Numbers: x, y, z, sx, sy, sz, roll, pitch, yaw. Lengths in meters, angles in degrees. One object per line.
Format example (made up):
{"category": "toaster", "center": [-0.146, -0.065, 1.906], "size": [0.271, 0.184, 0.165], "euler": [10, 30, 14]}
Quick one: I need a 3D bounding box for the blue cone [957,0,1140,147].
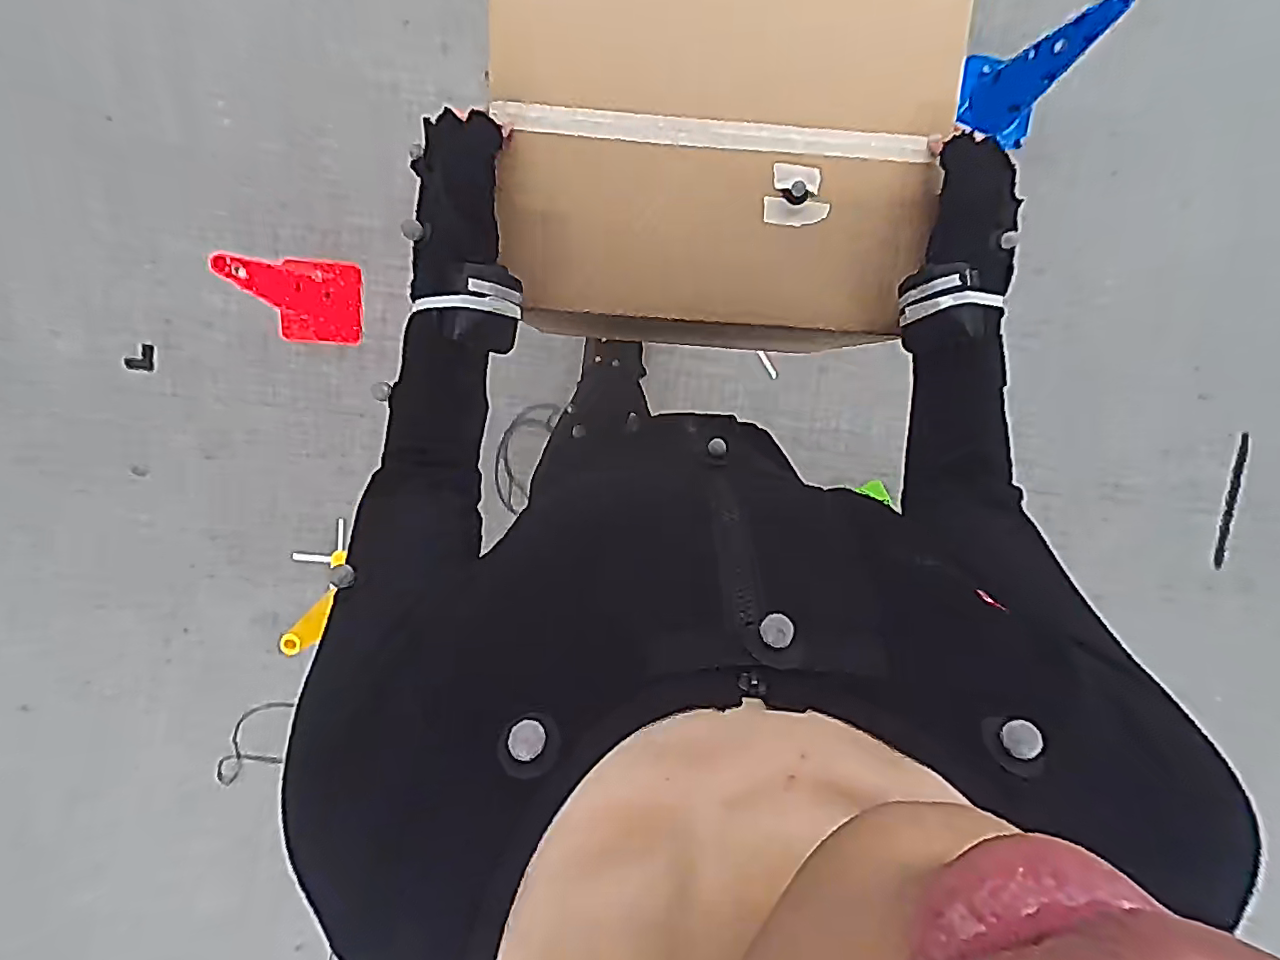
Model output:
{"category": "blue cone", "center": [0.918, -0.940, 1.215], "size": [0.192, 0.380, 0.193], "euler": [10, 96, -5]}

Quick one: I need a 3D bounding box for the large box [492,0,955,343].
{"category": "large box", "center": [0.062, -0.337, 0.624], "size": [0.408, 0.320, 0.320], "euler": [3, 101, -3]}

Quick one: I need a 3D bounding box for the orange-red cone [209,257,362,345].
{"category": "orange-red cone", "center": [-0.795, -0.422, 1.189], "size": [0.198, 0.360, 0.199], "euler": [4, 98, -2]}
